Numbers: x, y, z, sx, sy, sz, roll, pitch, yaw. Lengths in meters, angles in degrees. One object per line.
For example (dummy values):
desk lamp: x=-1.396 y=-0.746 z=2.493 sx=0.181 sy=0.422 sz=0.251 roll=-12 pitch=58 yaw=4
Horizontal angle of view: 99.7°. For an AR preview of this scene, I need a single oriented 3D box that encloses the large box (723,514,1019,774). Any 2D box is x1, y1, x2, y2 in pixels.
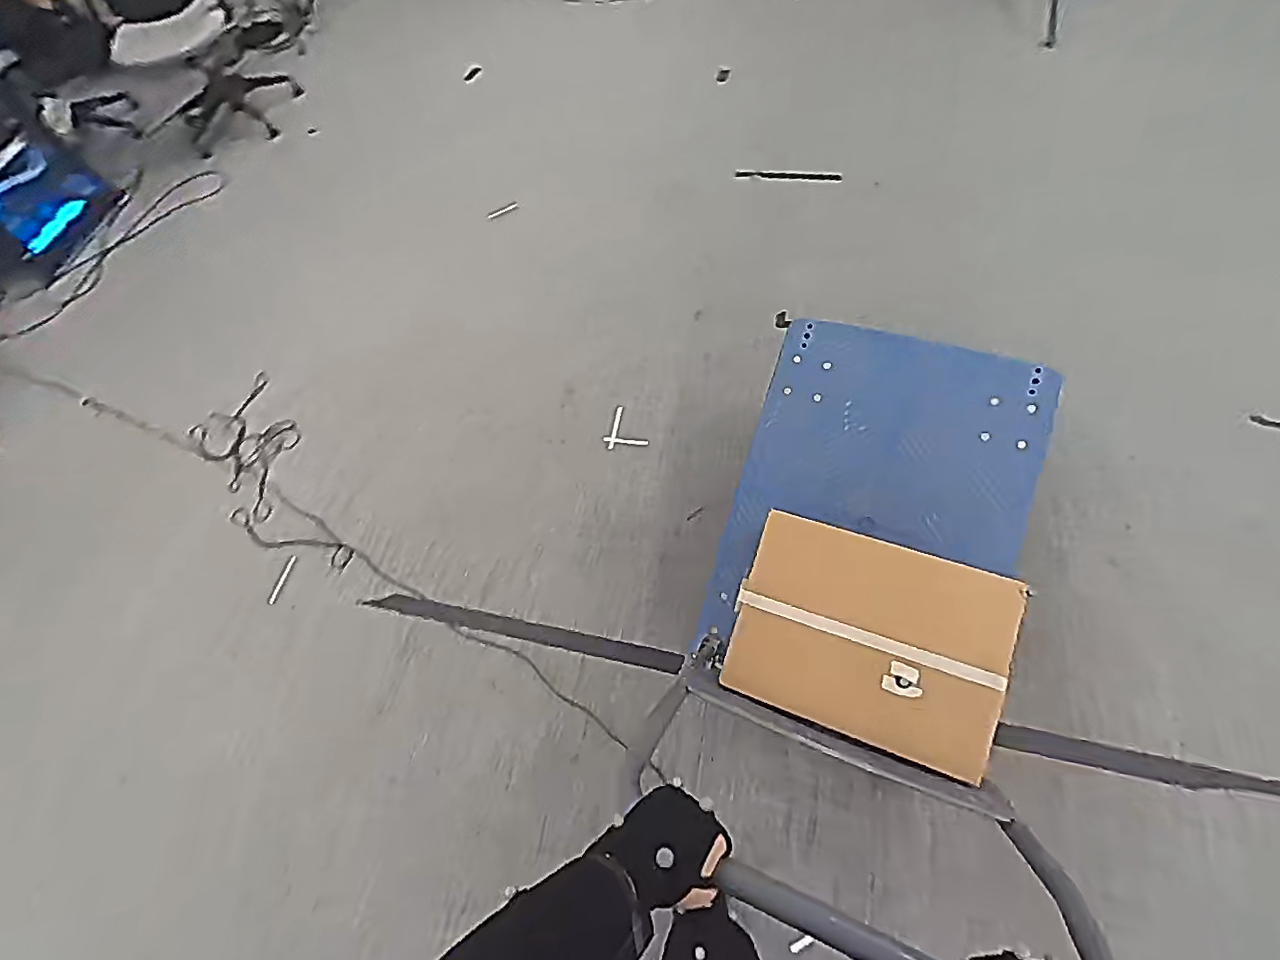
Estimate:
large box: x=0.400 y=0.277 z=1.028 sx=0.408 sy=0.320 sz=0.320 roll=17 pitch=86 yaw=16
